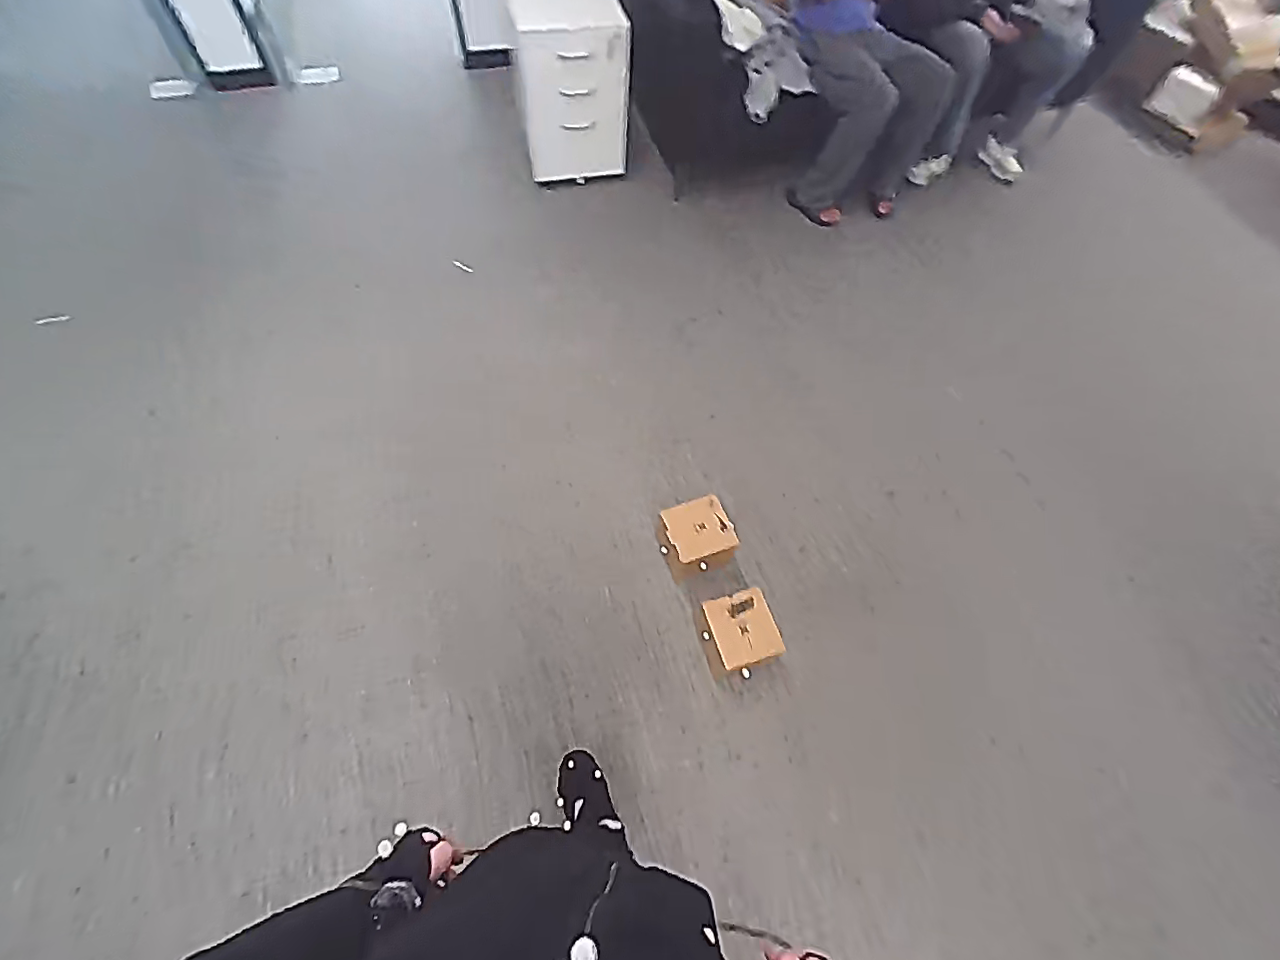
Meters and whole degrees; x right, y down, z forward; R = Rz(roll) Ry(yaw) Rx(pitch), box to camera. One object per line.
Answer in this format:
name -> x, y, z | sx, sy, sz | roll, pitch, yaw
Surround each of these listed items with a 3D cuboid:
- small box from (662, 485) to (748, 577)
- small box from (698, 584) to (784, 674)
small box -> 0.181, 0.153, 1.570 | 0.179, 0.176, 0.168 | 36, 63, 17
small box -> 0.261, 0.400, 1.444 | 0.168, 0.176, 0.179 | -11, 62, -7
